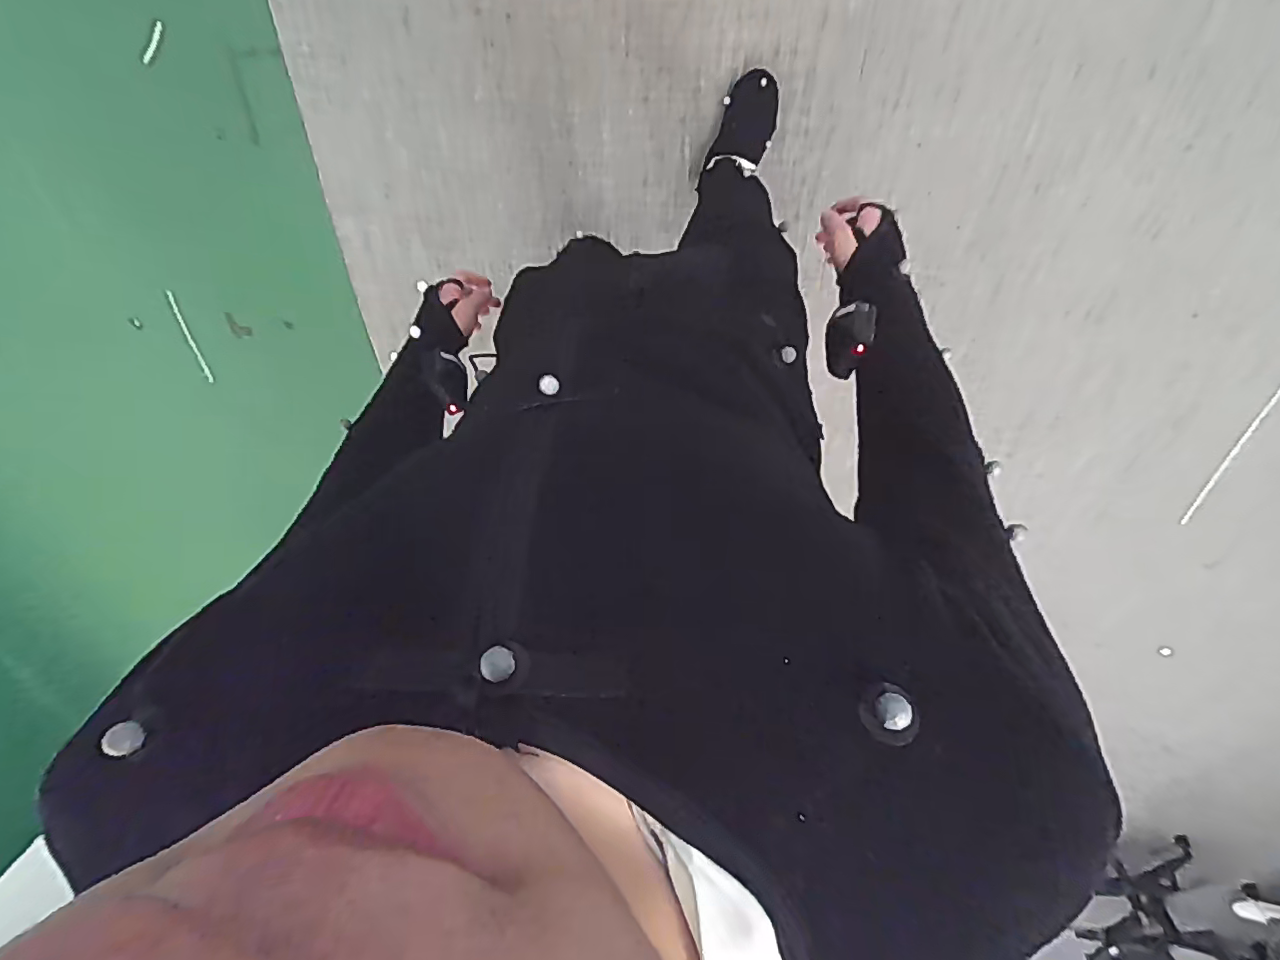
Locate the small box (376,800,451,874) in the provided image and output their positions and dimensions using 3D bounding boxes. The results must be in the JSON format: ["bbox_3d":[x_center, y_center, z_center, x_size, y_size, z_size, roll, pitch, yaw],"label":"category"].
[{"bbox_3d":[-0.784,1.244,1.897,0.168,0.176,0.179,4,126,7],"label":"small box"}]

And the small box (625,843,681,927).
[{"bbox_3d":[0.044,1.356,1.817,0.168,0.176,0.179,7,125,7],"label":"small box"}]
